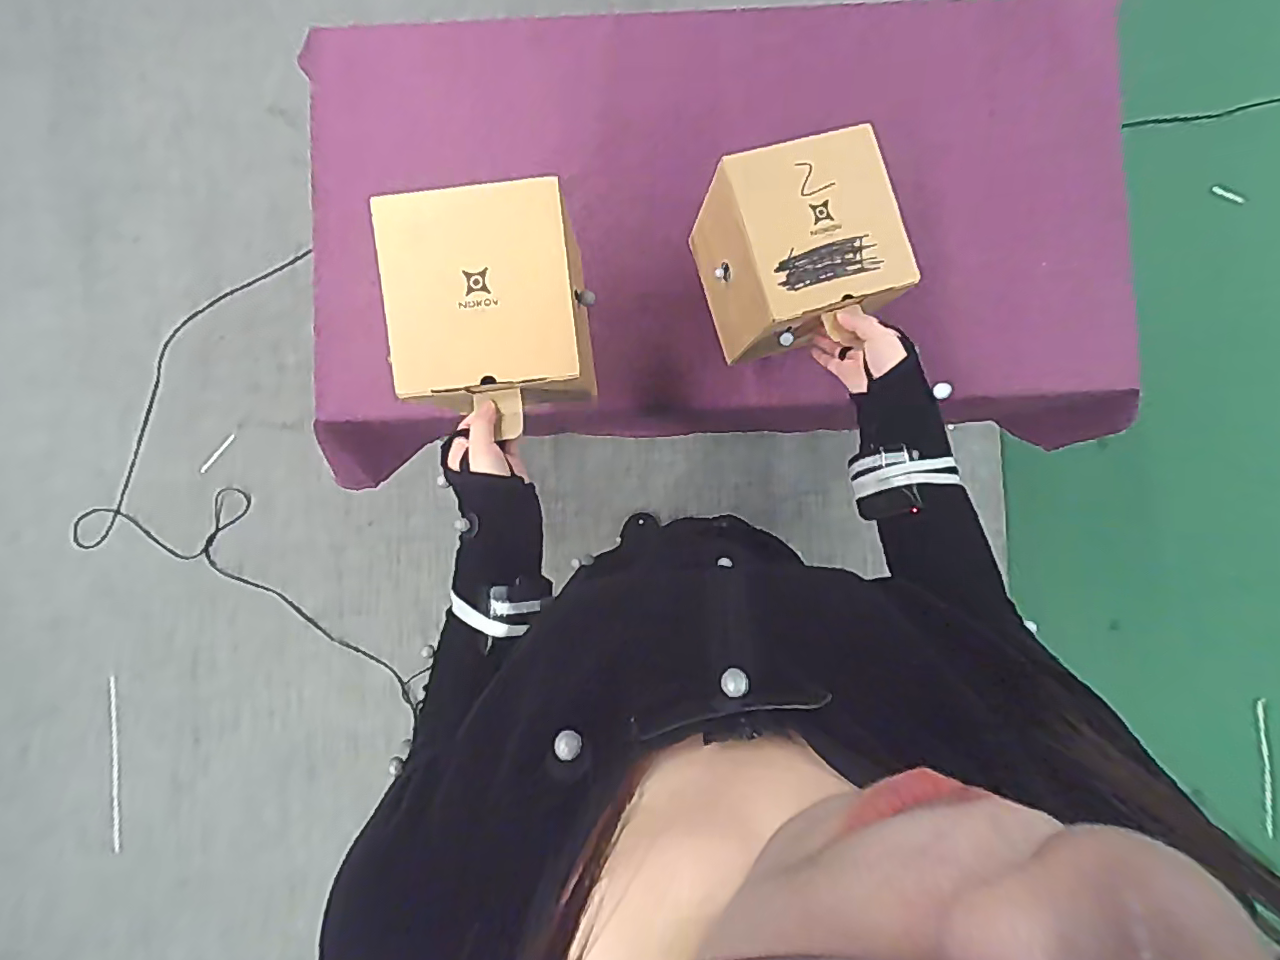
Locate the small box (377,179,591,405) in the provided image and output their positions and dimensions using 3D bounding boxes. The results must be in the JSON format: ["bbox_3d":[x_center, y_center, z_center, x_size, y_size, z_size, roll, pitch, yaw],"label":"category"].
[{"bbox_3d":[-0.146,-0.179,0.564,0.168,0.176,0.179,-6,94,0],"label":"small box"}]
